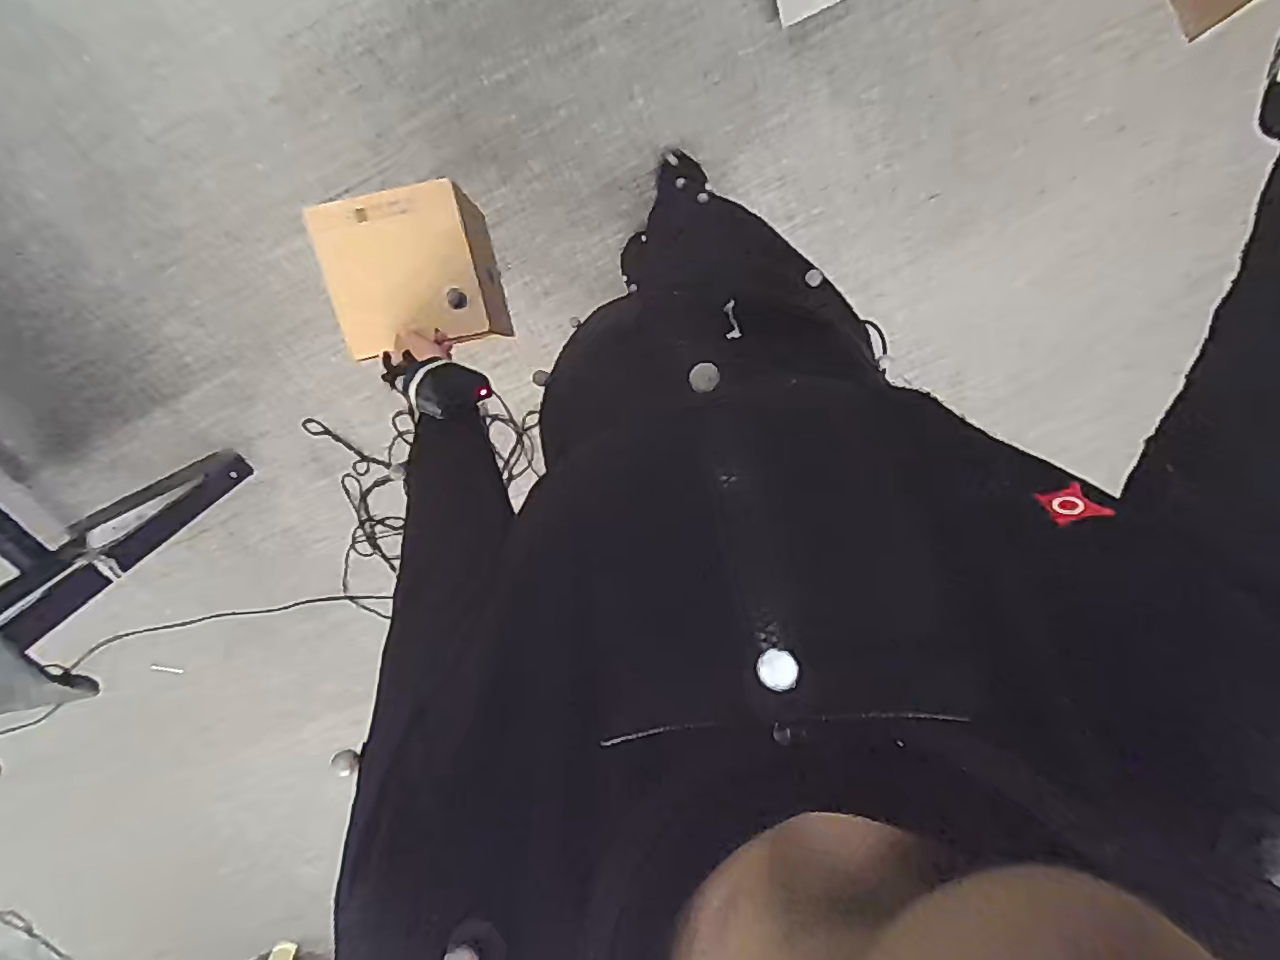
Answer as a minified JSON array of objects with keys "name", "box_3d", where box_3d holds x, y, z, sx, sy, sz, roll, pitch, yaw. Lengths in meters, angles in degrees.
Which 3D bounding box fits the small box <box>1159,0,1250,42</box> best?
[{"name":"small box","box_3d":[0.469,-0.461,0.369,0.168,0.179,0.176,-26,100,37]}]
